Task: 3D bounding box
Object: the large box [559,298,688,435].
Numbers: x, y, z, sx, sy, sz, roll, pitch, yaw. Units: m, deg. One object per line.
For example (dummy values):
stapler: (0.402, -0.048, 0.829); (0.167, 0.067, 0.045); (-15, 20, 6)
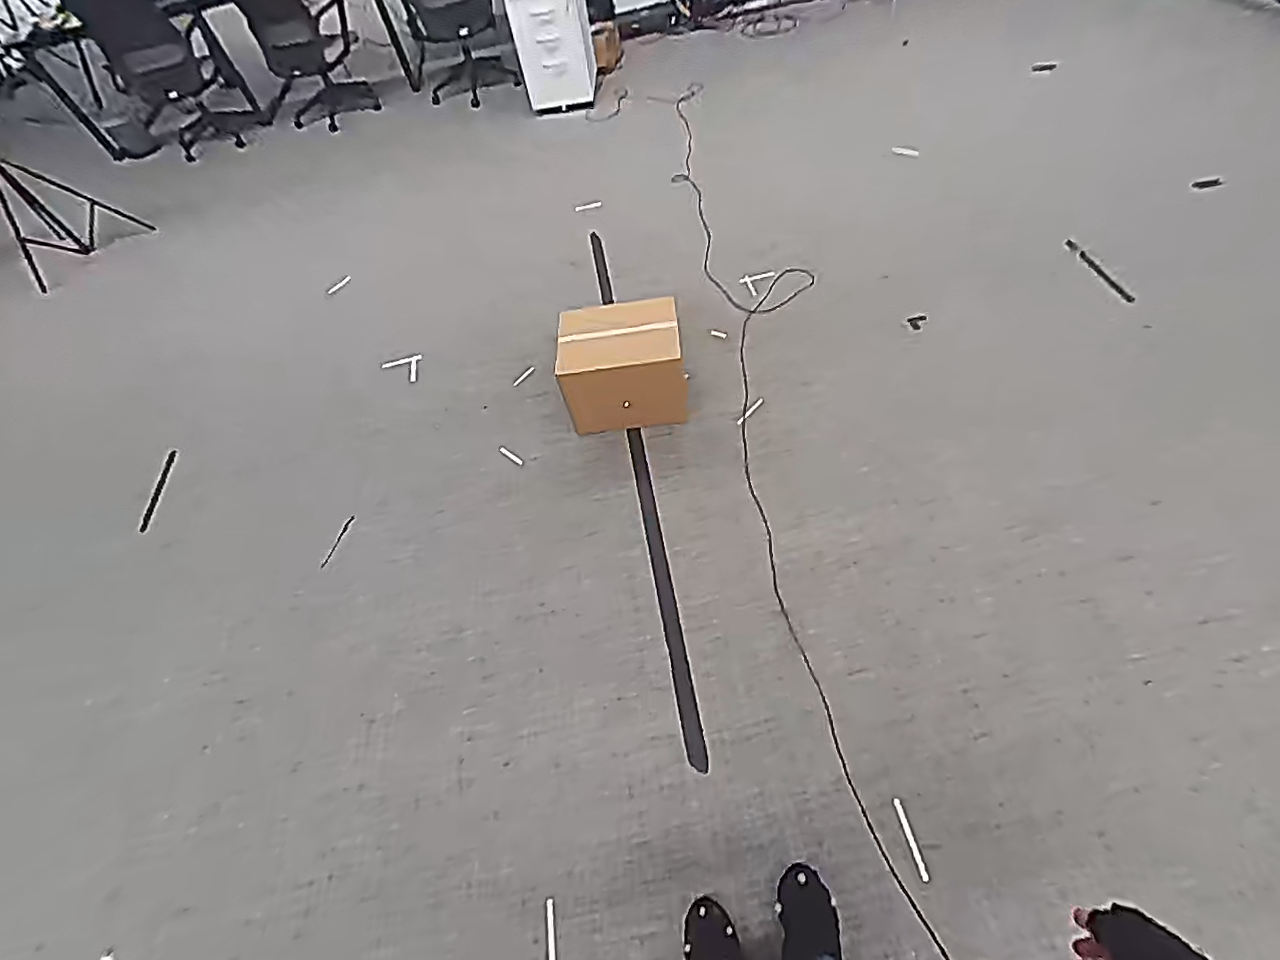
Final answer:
large box: (-0.051, -0.390, 1.893); (0.408, 0.320, 0.320); (-7, 56, 5)
